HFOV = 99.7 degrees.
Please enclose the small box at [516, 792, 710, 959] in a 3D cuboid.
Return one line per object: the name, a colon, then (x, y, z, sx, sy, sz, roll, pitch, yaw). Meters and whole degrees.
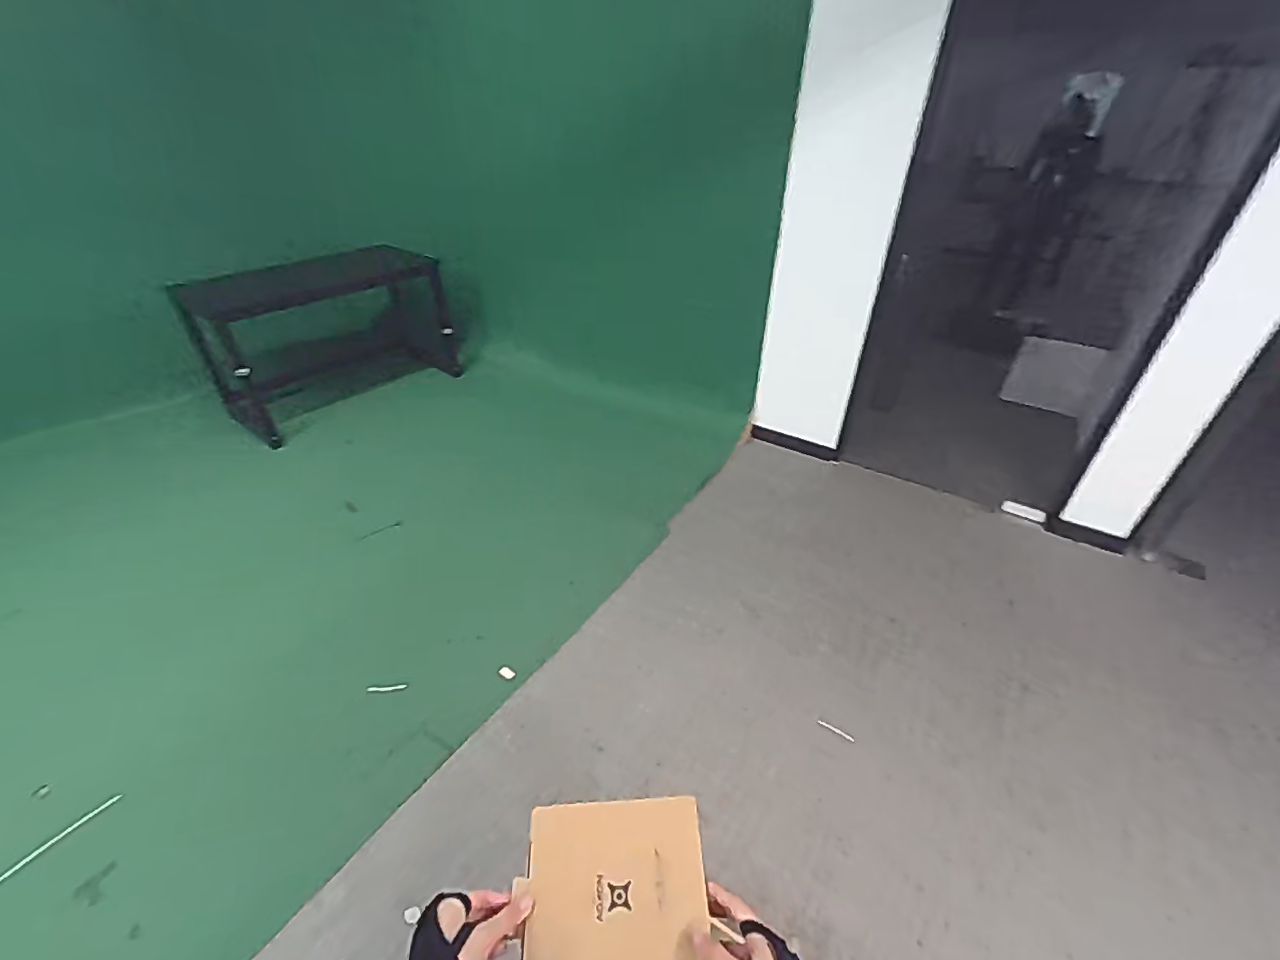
small box: (-0.024, 0.451, 0.568, 0.179, 0.176, 0.168, -4, 43, -1)
